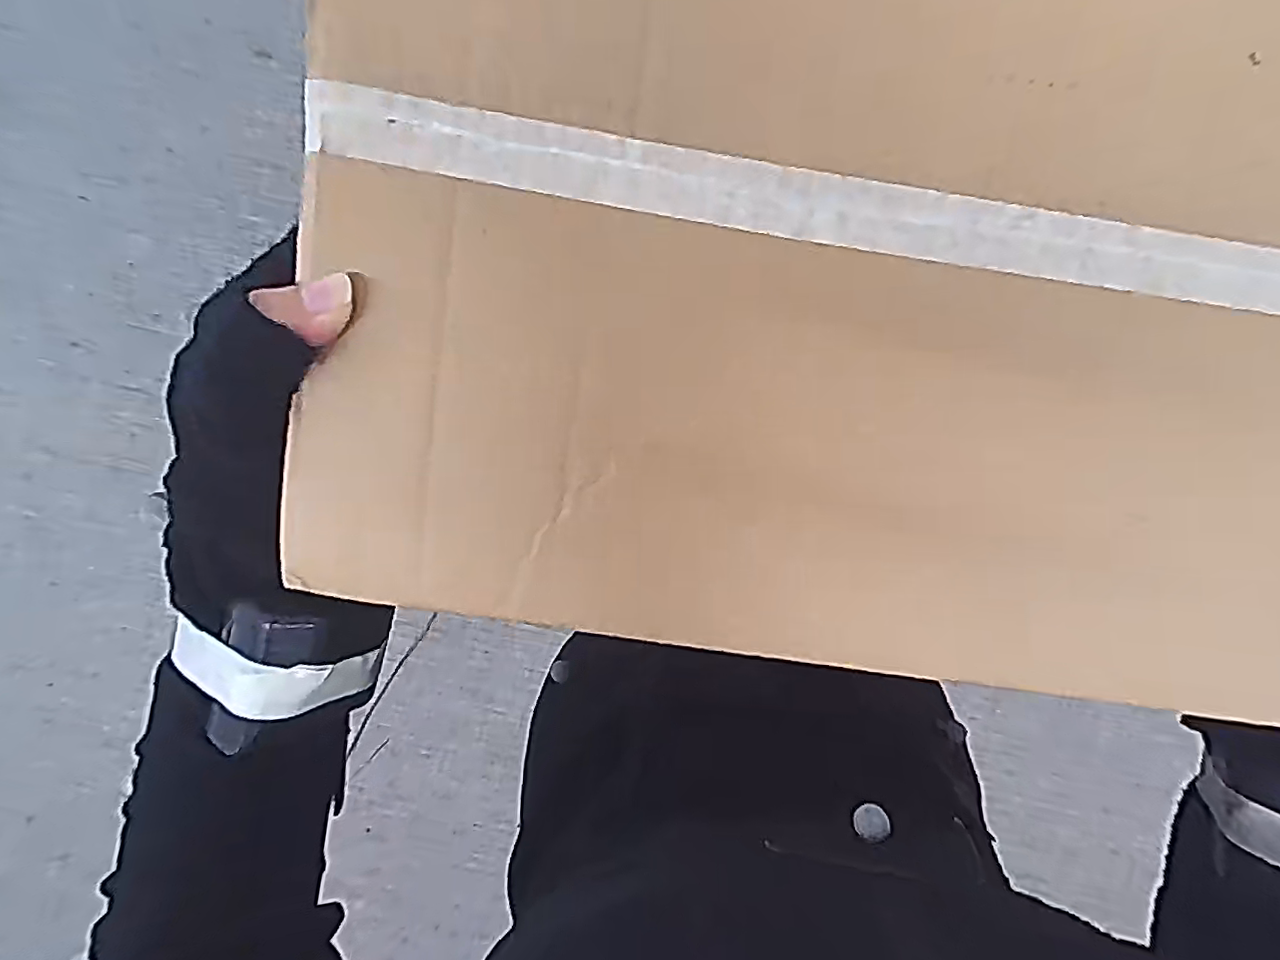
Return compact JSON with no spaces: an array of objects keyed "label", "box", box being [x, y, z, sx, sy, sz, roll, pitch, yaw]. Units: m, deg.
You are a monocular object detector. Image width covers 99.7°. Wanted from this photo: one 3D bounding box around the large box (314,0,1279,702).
[{"label":"large box","box":[0.090,-0.103,0.340,0.408,0.320,0.320,8,97,-3]}]
